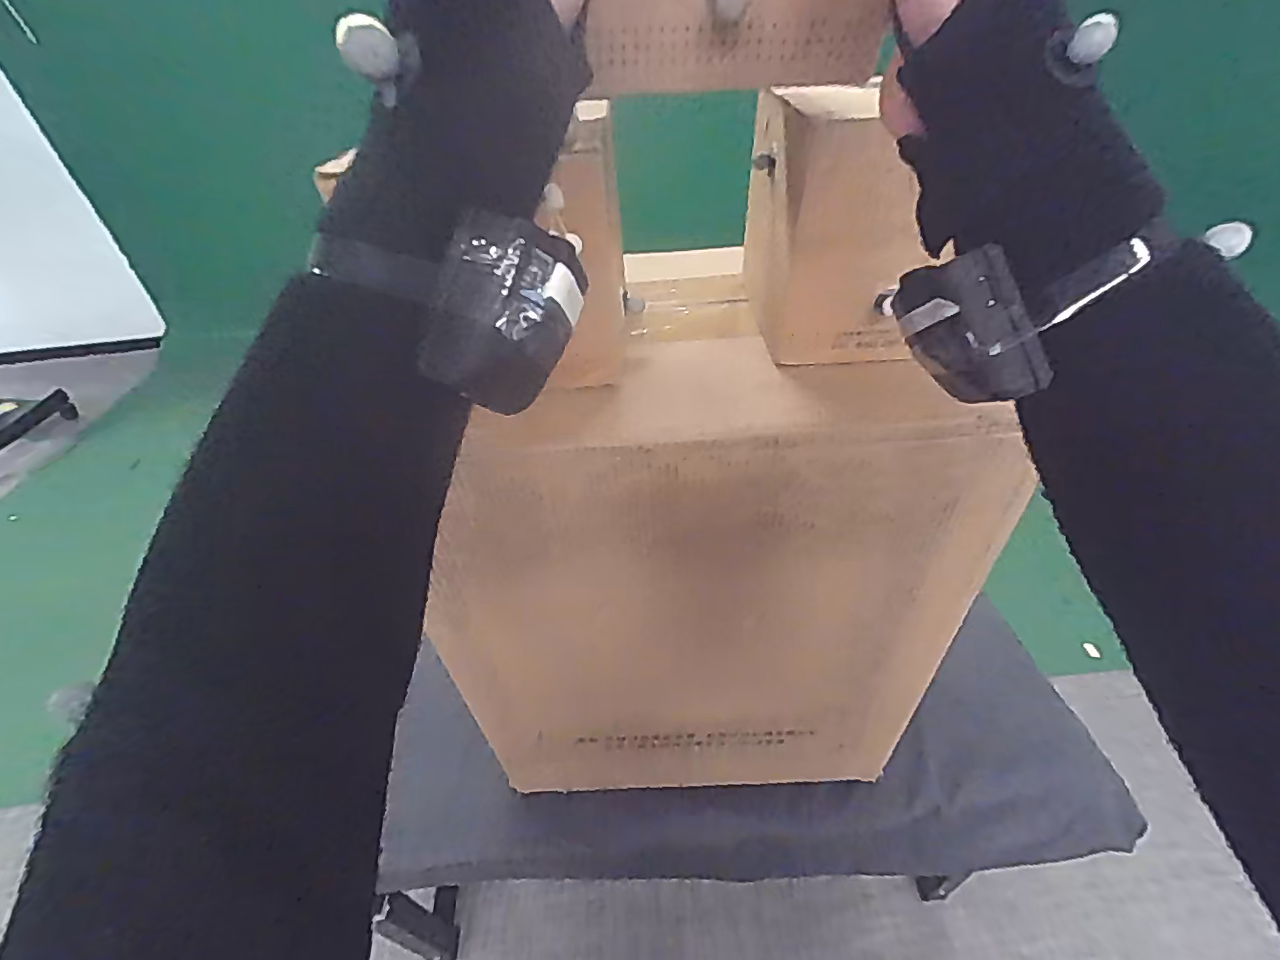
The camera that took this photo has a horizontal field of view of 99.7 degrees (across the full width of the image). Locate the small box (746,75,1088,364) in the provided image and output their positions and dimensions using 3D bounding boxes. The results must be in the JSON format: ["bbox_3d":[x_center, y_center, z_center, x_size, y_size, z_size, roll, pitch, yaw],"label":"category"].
[{"bbox_3d":[0.186,-0.210,0.436,0.168,0.176,0.179,-2,44,0],"label":"small box"}]

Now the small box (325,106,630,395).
[{"bbox_3d":[-0.101,-0.180,0.433,0.179,0.176,0.168,-2,44,1],"label":"small box"}]

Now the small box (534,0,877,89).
[{"bbox_3d":[0.030,-0.318,0.269,0.179,0.176,0.168,-5,52,-7],"label":"small box"}]
